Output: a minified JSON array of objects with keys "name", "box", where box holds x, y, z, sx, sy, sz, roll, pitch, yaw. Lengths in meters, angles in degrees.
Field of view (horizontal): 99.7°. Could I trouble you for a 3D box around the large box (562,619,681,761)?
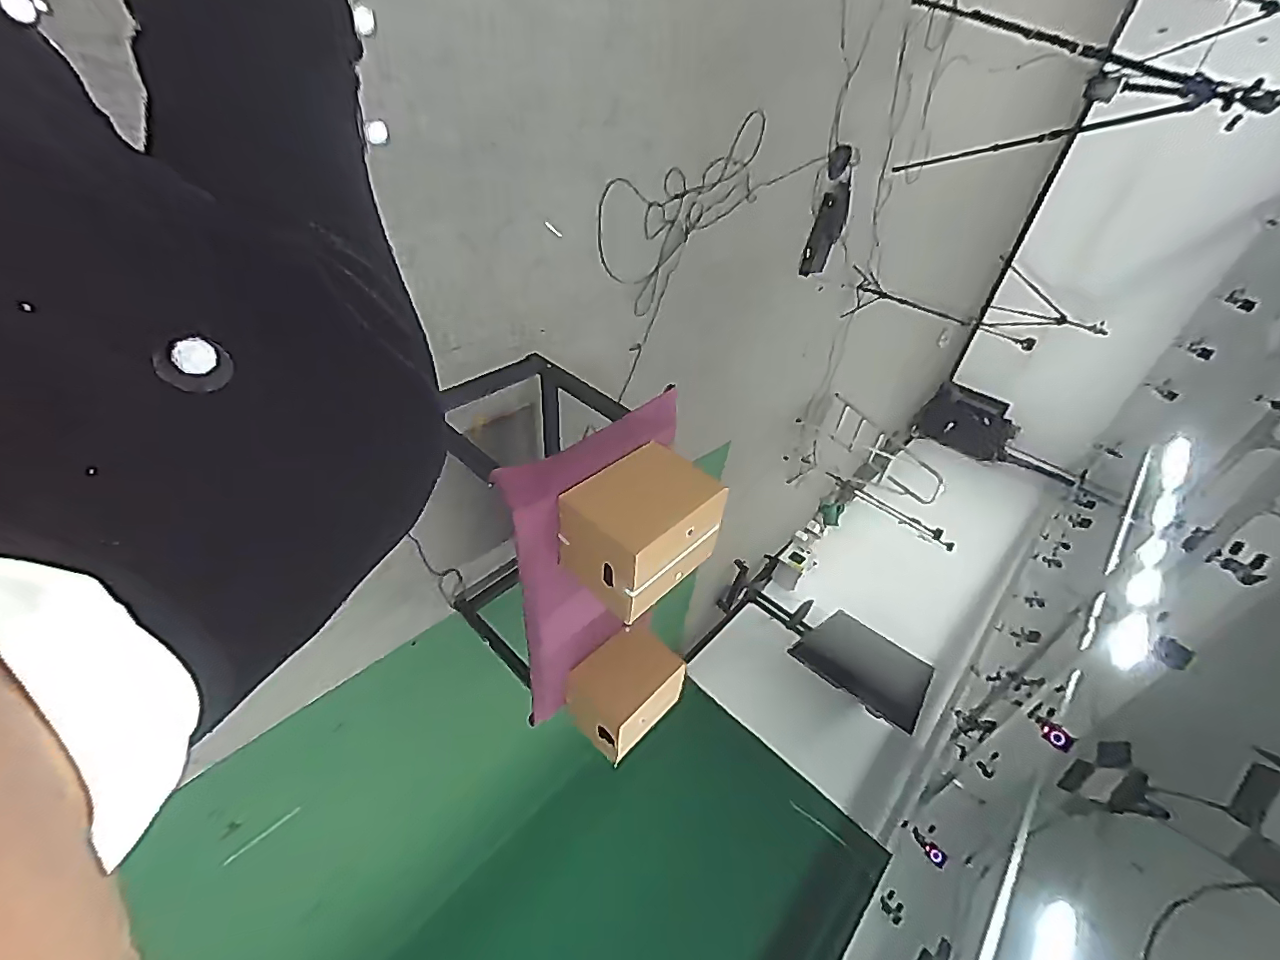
[{"name":"large box","box":[-0.083,0.878,2.301,0.408,0.320,0.320,-31,141,-37]}]
